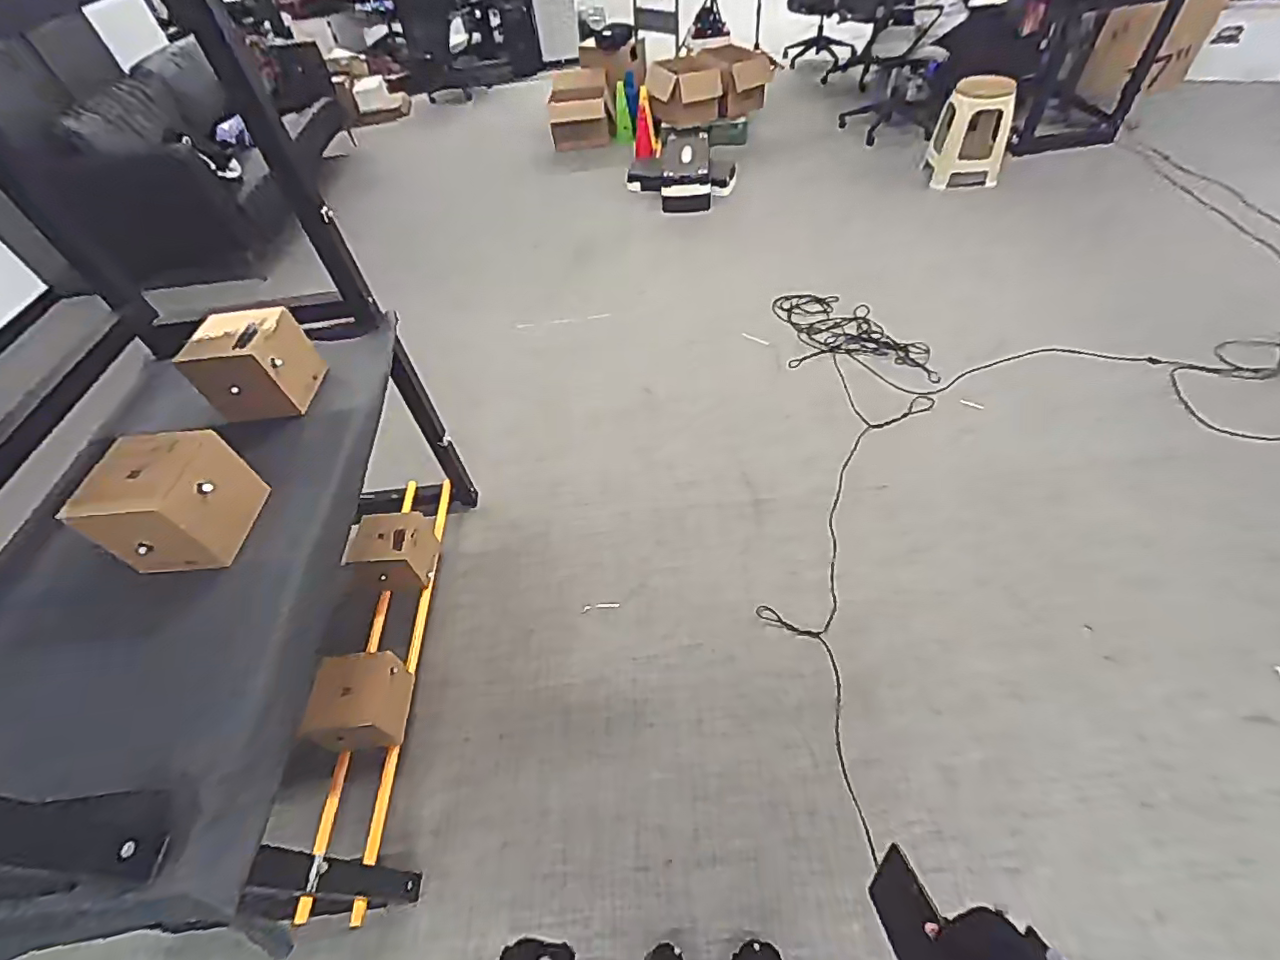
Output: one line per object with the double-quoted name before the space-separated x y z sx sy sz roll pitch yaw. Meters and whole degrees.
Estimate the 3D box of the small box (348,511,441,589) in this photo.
"small box" -0.707 0.207 1.582 0.179 0.176 0.168 -4 50 3

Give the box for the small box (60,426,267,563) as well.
"small box" -0.788 0.032 0.922 0.168 0.176 0.179 -4 50 3
